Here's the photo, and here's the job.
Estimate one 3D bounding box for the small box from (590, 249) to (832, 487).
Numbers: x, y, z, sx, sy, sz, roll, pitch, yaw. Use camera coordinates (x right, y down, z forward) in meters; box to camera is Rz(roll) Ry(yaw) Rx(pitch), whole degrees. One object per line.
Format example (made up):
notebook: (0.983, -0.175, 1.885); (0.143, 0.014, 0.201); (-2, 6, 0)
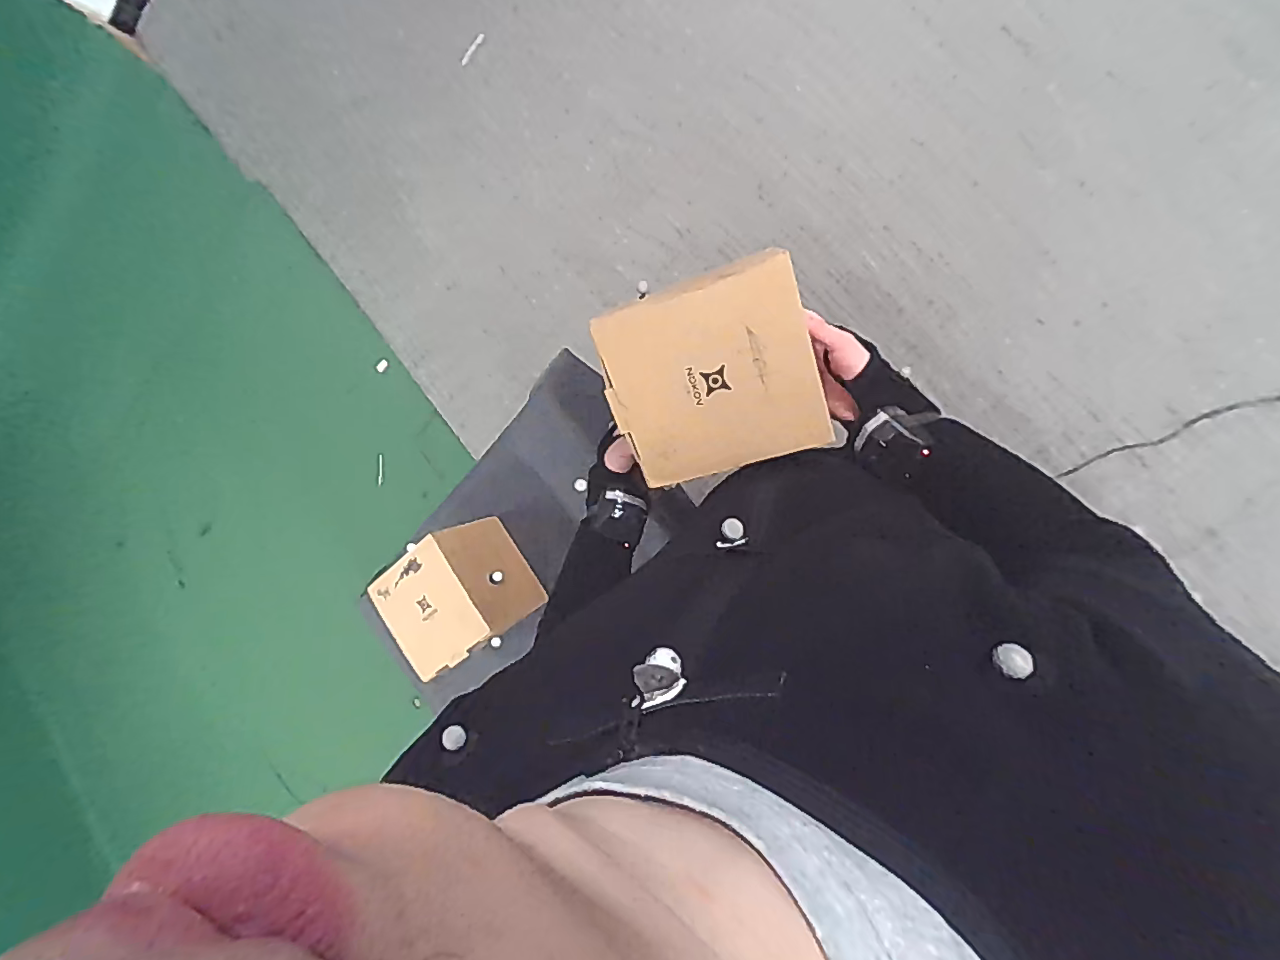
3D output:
small box: (0.074, -0.117, 0.539); (0.179, 0.176, 0.168); (-16, 111, 15)

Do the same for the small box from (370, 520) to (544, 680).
small box: (-0.290, 0.187, 0.889); (0.168, 0.176, 0.179); (-37, 83, 19)
